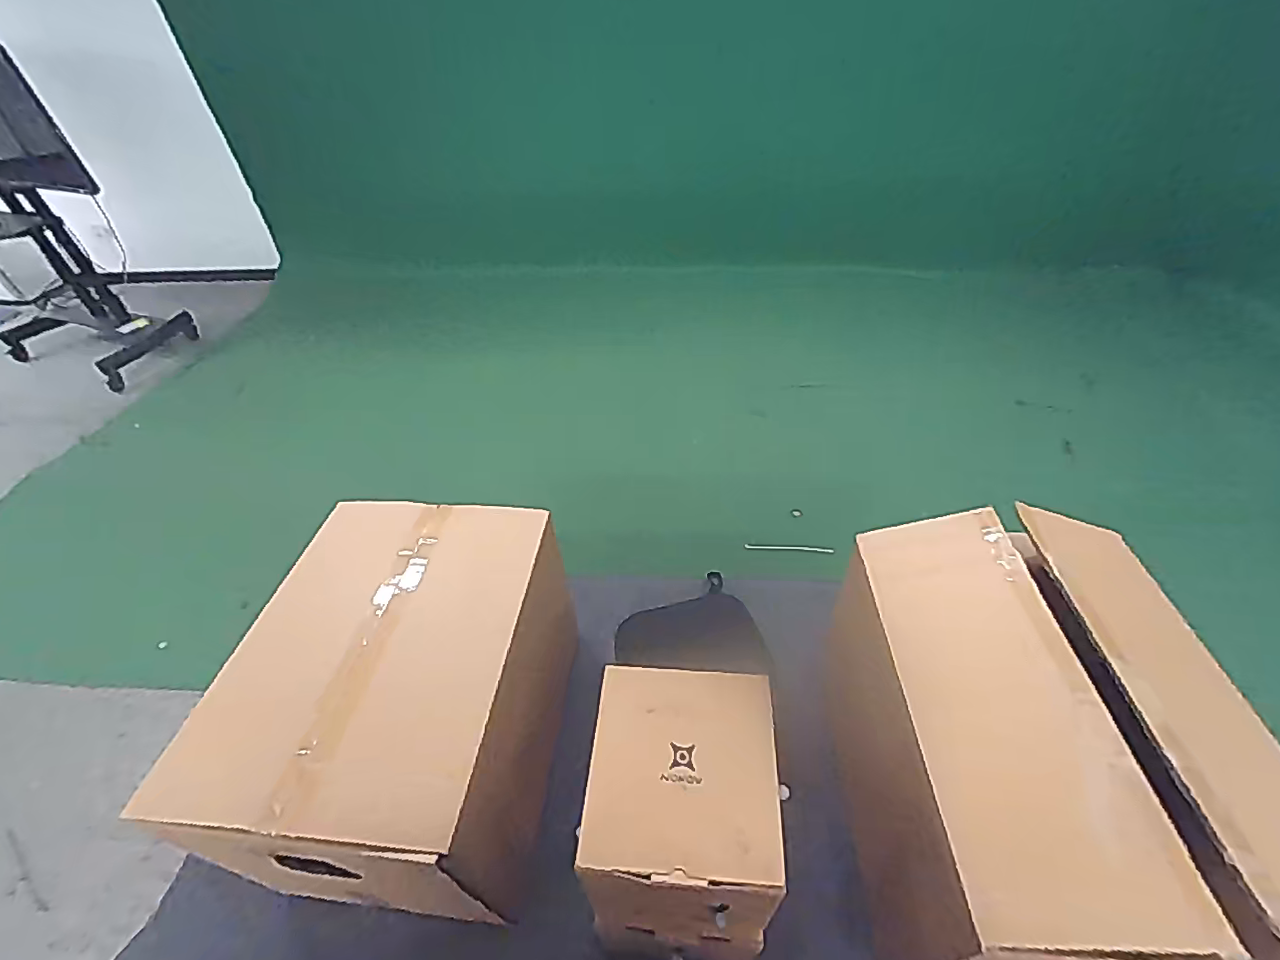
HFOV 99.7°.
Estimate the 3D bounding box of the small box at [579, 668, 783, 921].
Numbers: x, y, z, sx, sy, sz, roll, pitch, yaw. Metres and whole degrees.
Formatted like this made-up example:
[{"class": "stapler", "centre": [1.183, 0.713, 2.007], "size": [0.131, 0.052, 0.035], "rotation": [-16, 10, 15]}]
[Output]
[{"class": "small box", "centre": [0.041, 0.313, 0.539], "size": [0.168, 0.176, 0.179], "rotation": [2, 42, 4]}]
